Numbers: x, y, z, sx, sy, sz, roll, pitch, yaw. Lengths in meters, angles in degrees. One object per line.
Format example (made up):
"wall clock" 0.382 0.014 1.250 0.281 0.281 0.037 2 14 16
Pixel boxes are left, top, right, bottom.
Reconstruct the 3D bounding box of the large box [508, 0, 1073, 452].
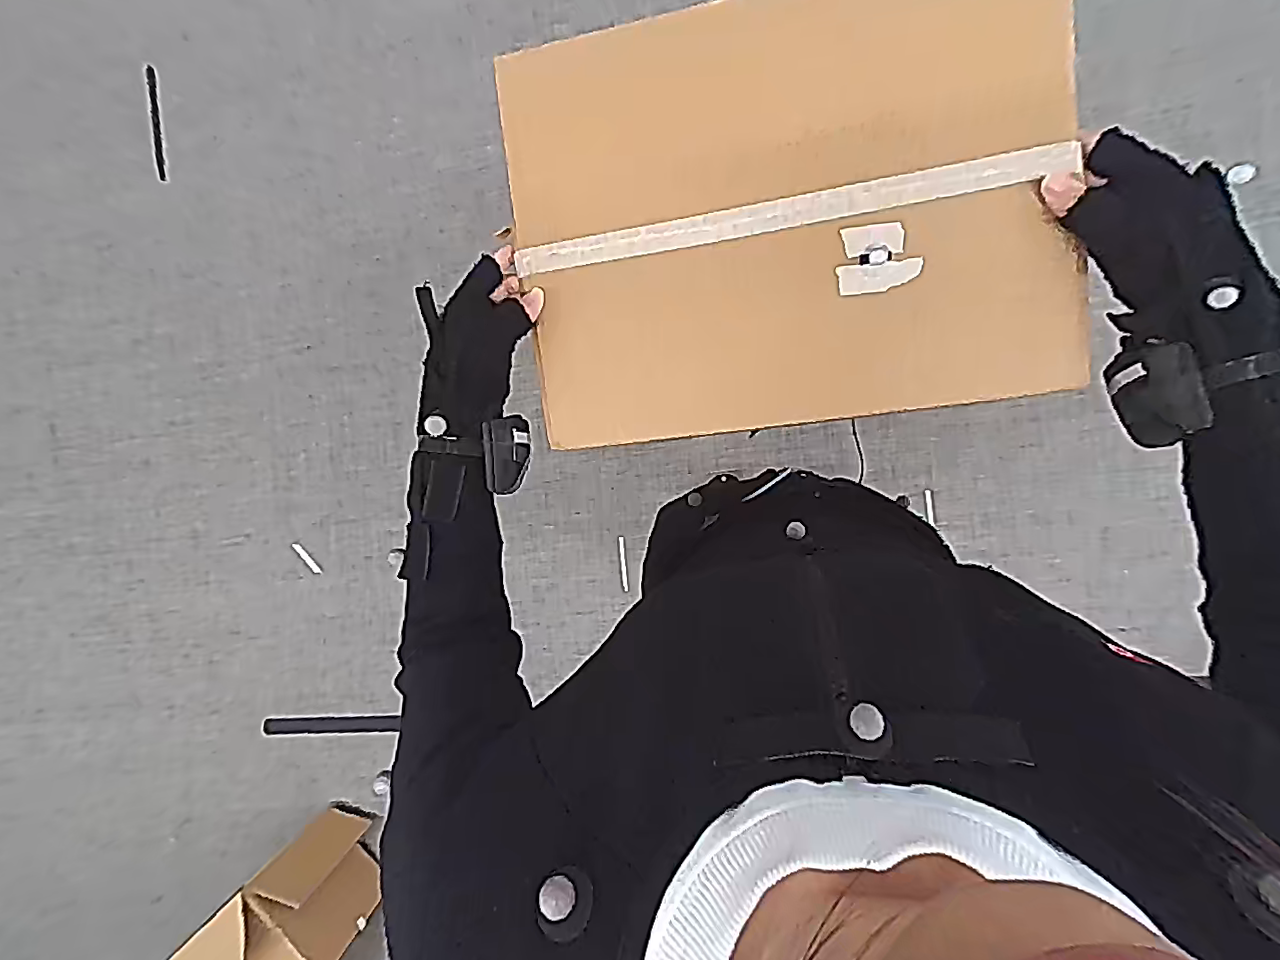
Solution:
"large box" 0.127 -0.216 0.565 0.408 0.320 0.320 -7 96 10
